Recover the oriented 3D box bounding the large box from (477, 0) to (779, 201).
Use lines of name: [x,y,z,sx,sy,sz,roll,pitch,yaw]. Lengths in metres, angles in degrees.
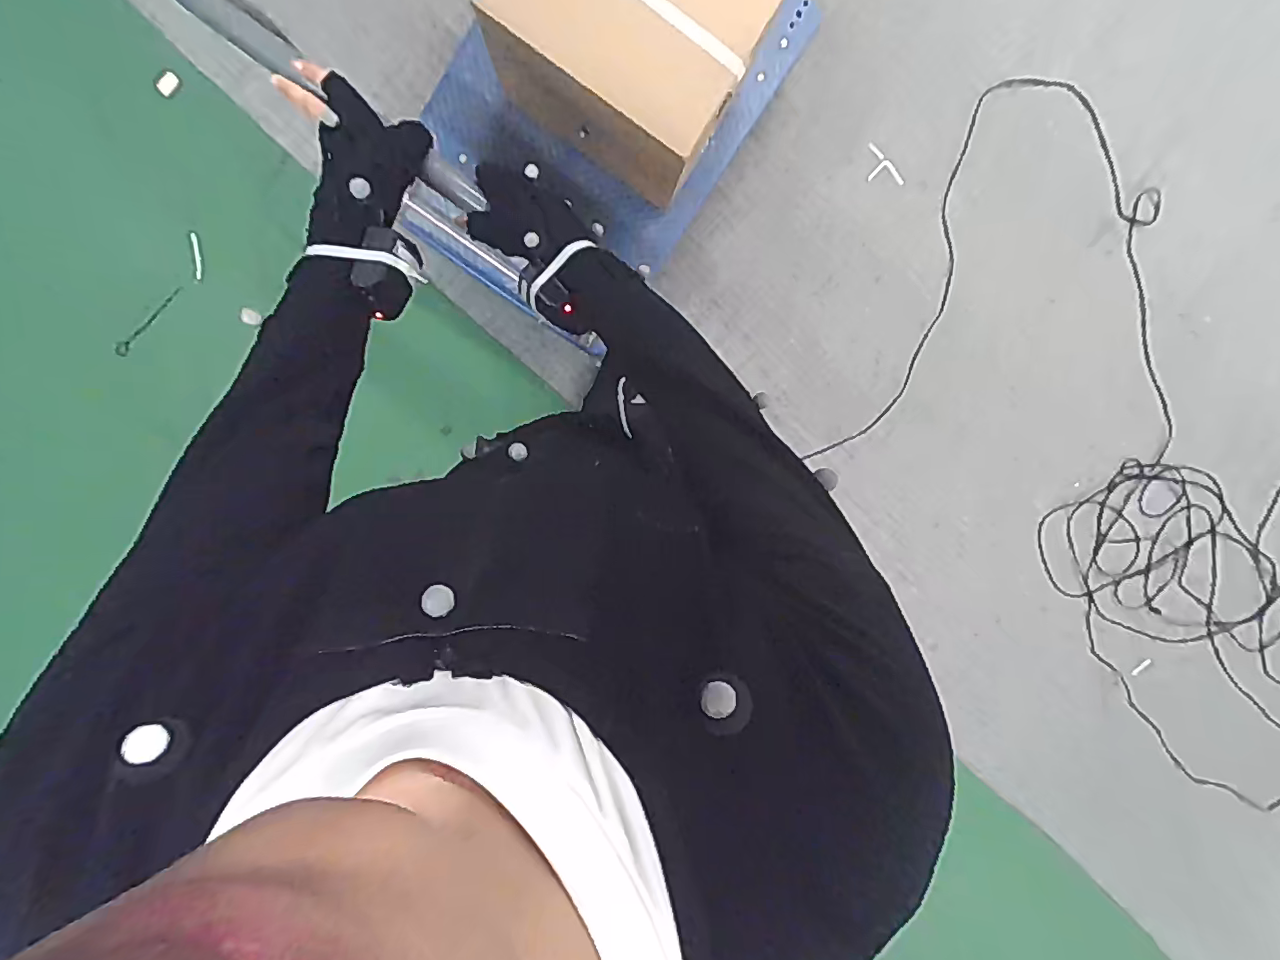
large box: [-0.015,-0.799,0.993,0.408,0.320,0.320,31,98,-9]
